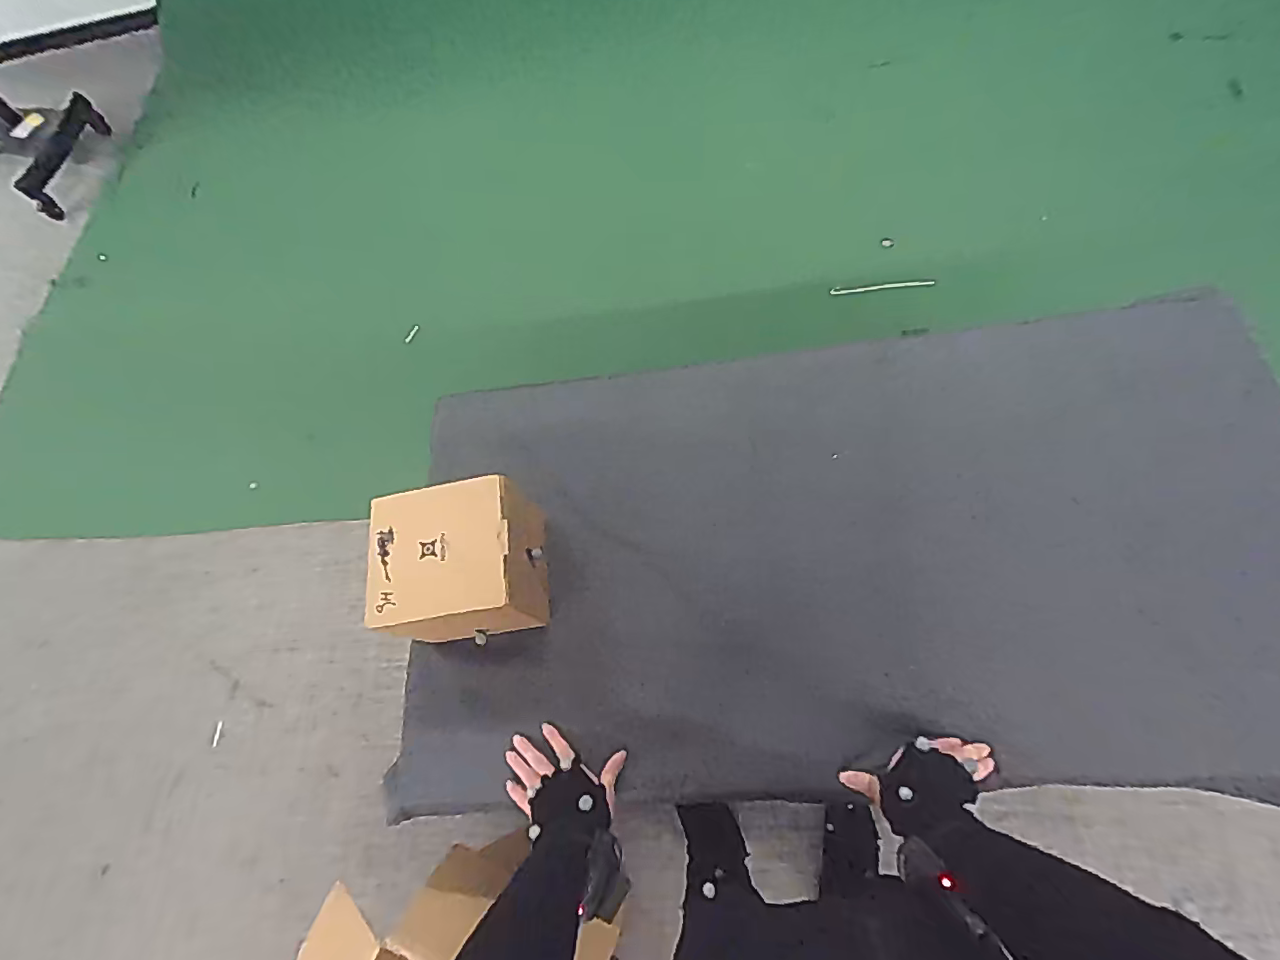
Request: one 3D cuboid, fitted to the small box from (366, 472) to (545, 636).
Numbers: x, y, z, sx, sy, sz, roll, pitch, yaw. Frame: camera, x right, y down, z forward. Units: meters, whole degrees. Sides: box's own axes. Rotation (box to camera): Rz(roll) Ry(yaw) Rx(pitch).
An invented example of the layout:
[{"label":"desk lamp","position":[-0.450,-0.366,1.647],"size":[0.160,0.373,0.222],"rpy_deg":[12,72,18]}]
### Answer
[{"label":"small box","position":[-0.231,0.106,0.720],"size":[0.179,0.176,0.168],"rpy_deg":[-10,67,4]}]
